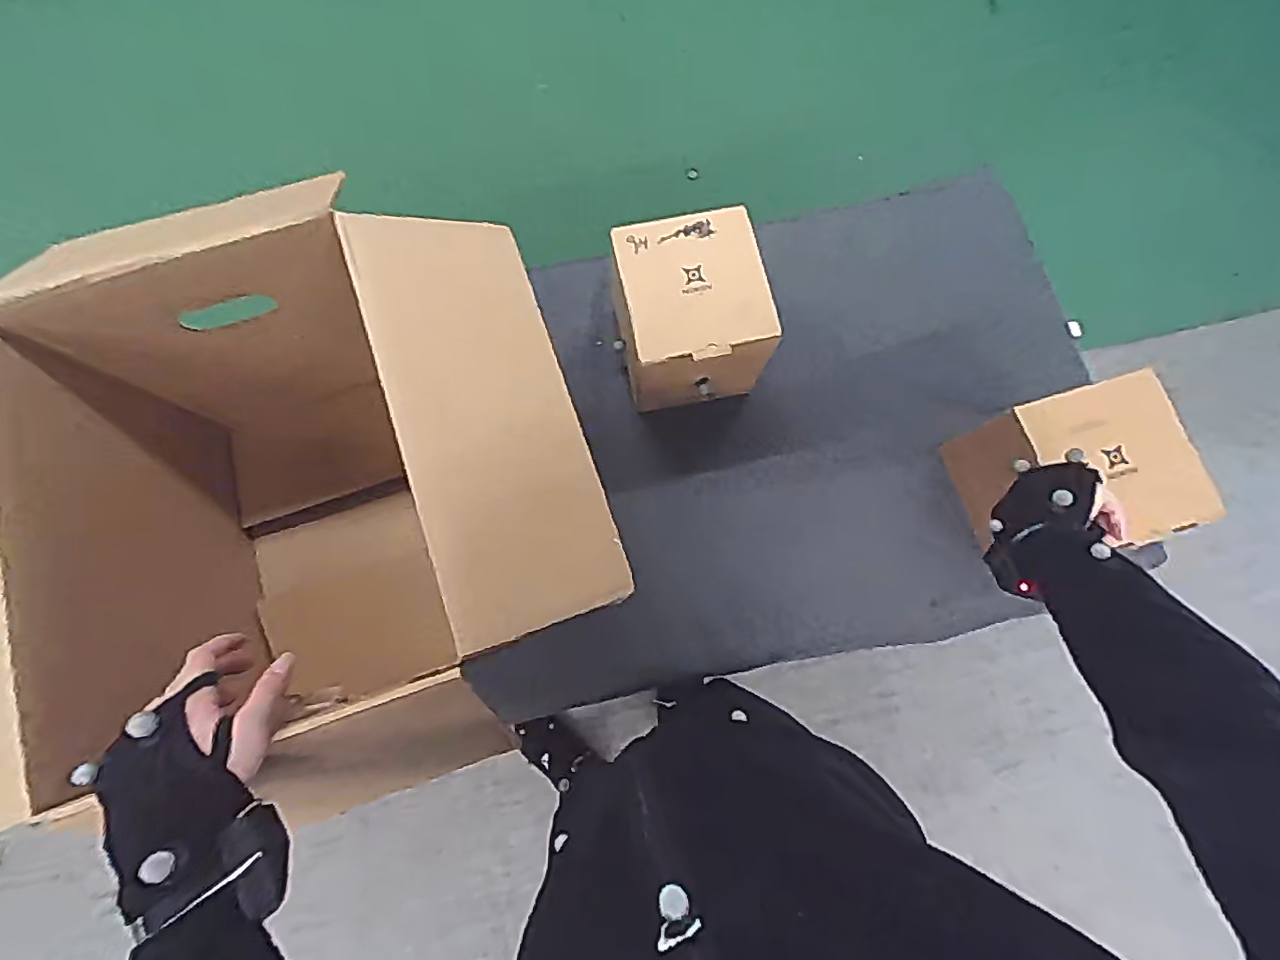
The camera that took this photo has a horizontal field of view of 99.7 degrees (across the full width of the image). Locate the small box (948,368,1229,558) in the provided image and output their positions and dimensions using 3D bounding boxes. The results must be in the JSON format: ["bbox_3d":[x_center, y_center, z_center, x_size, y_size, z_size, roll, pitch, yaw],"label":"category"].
[{"bbox_3d":[0.523,-0.007,0.662,0.168,0.176,0.179,-16,78,-1],"label":"small box"}]

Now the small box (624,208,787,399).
[{"bbox_3d":[0.075,-0.215,0.708,0.168,0.176,0.179,-10,80,-3],"label":"small box"}]
